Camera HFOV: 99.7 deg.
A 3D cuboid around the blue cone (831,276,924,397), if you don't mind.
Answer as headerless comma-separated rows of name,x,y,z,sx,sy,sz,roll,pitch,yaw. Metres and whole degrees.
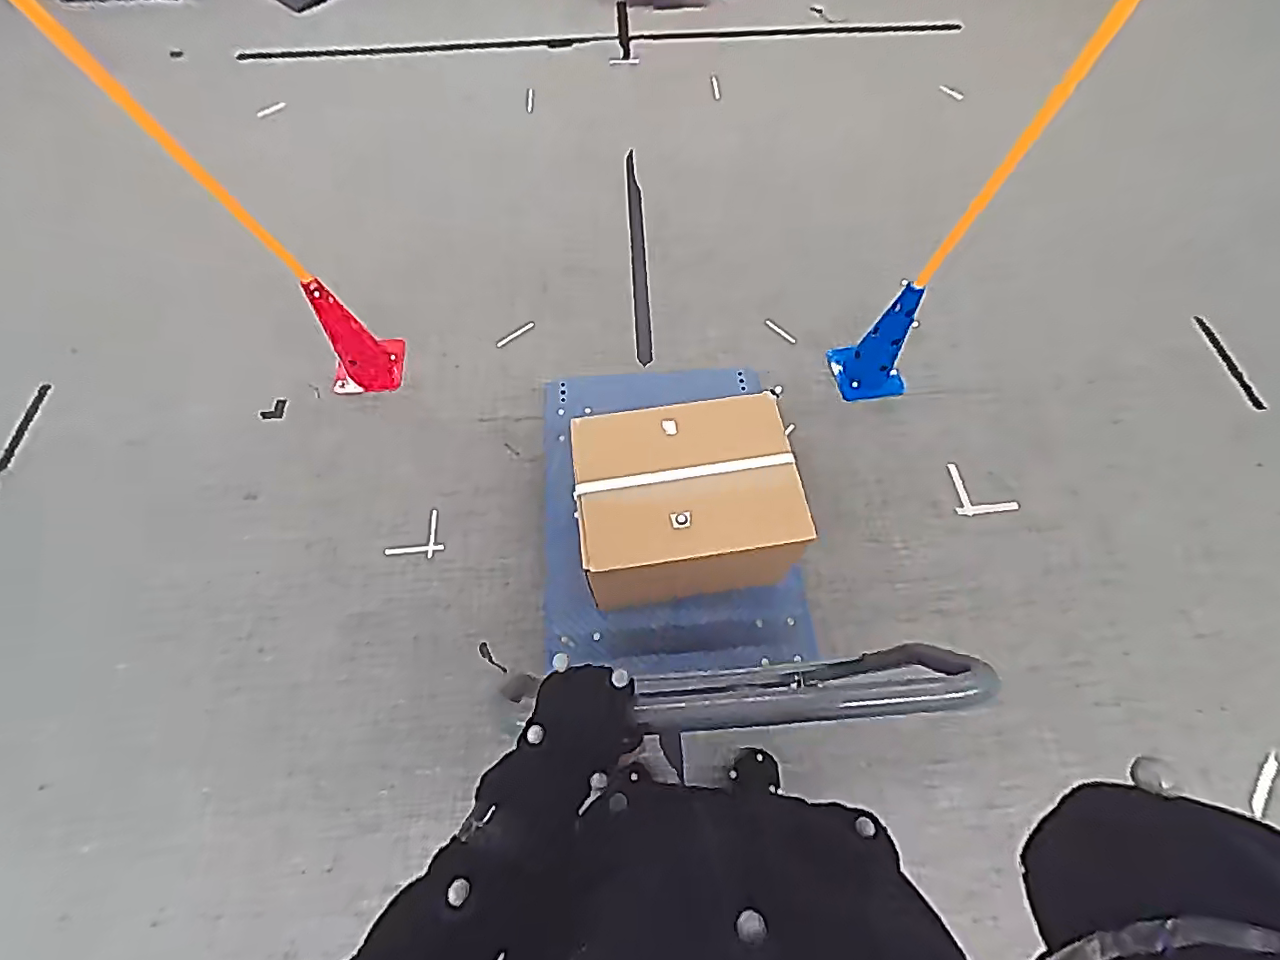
blue cone,0.706,-0.413,1.533,0.193,0.380,0.192,-6,63,-4
